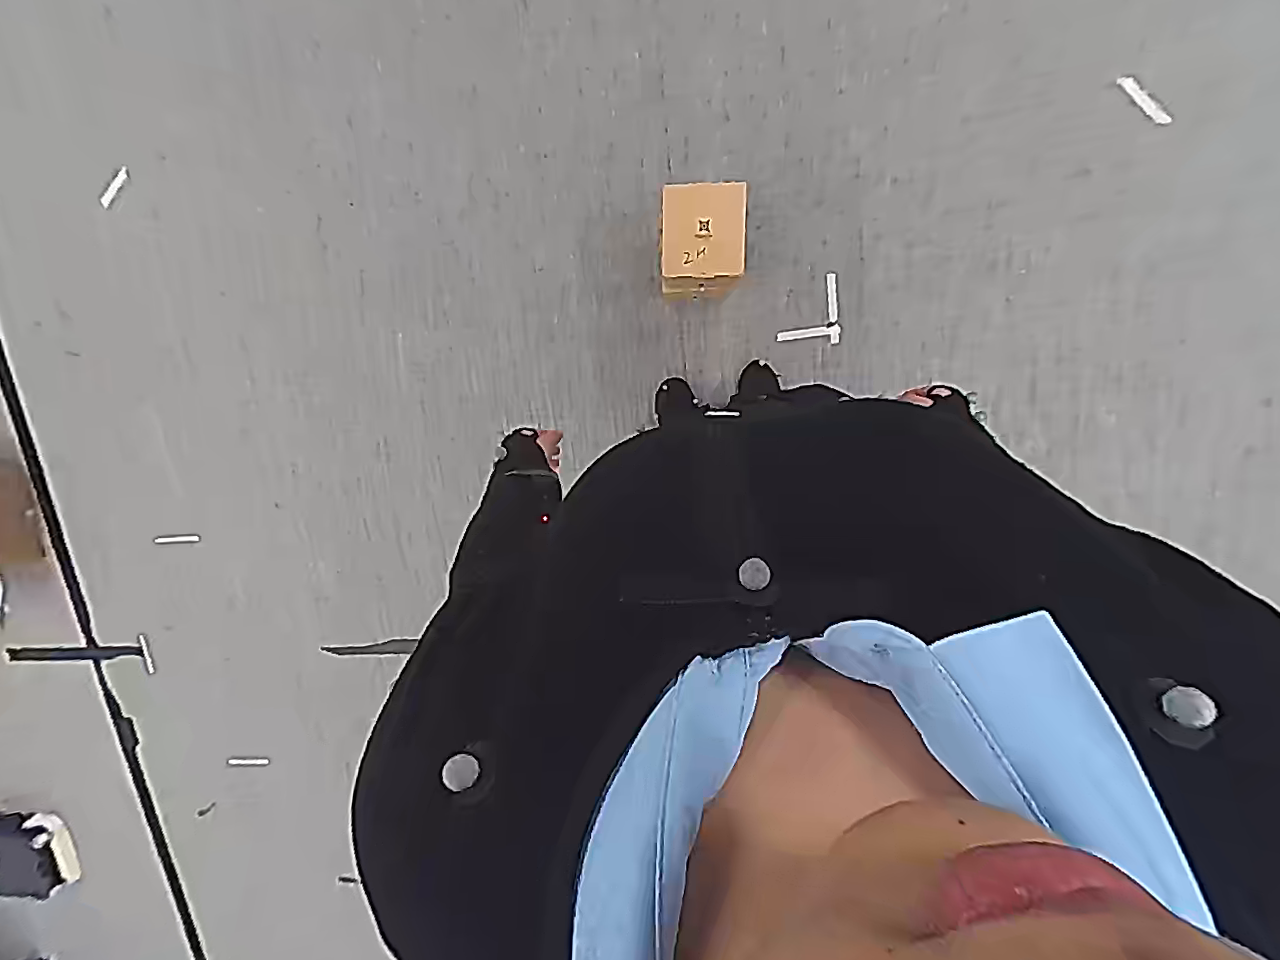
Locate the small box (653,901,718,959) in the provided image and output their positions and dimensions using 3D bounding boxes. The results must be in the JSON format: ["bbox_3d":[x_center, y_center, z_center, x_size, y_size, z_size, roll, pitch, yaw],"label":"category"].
[{"bbox_3d":[0.133,1.333,1.516,0.168,0.176,0.179,-6,101,7],"label":"small box"}]

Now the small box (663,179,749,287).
[{"bbox_3d":[0.136,-0.513,1.143,0.168,0.176,0.179,1,103,6],"label":"small box"}]
